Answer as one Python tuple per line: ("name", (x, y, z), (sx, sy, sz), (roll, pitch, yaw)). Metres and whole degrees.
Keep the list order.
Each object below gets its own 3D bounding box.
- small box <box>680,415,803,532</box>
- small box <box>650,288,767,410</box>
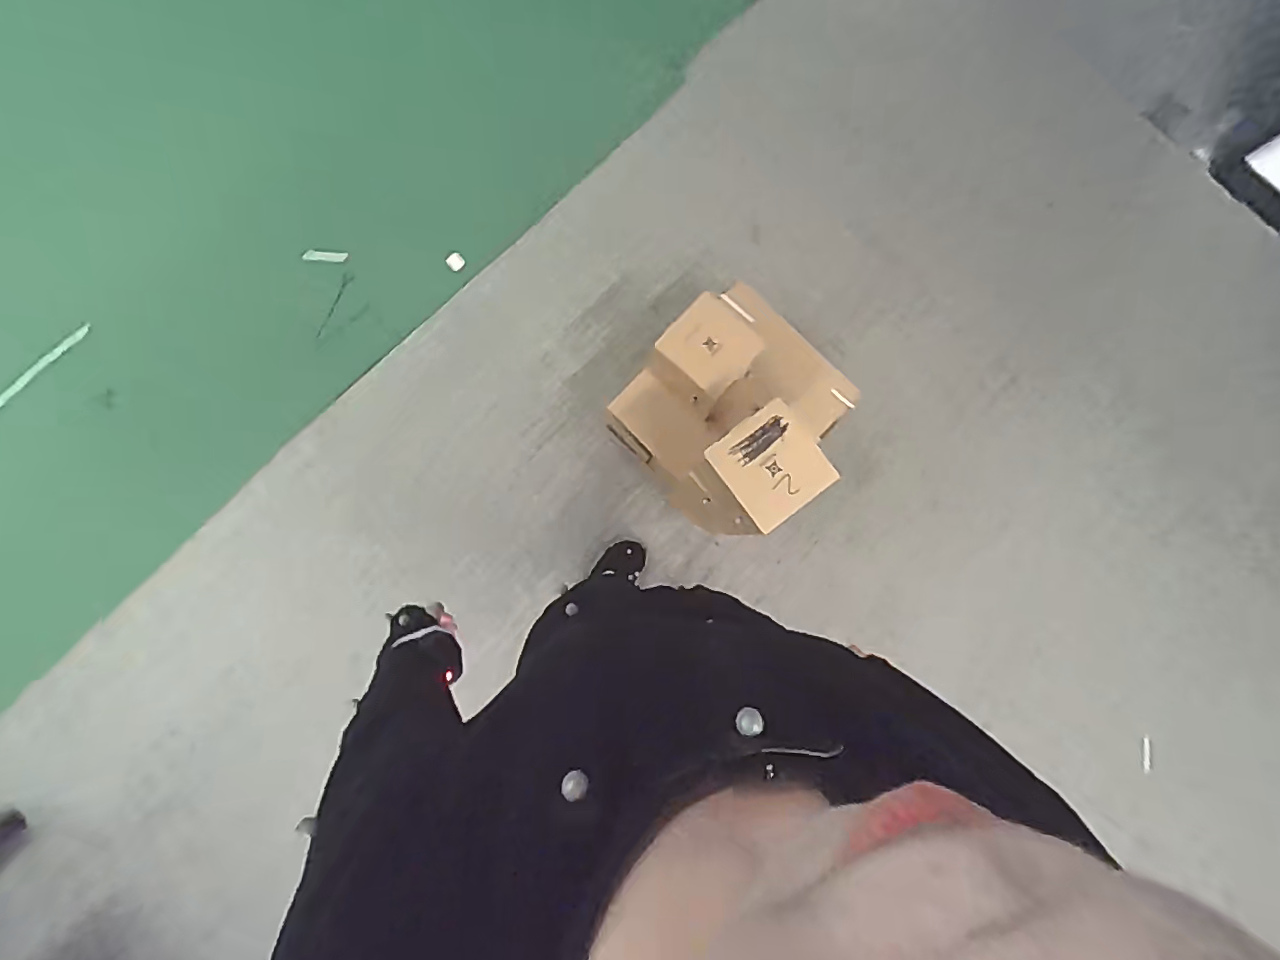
("small box", (0.204, -0.008, 1.142), (0.179, 0.176, 0.168), (-41, 88, -7))
("small box", (0.140, -0.270, 1.171), (0.179, 0.176, 0.168), (44, 82, 3))
